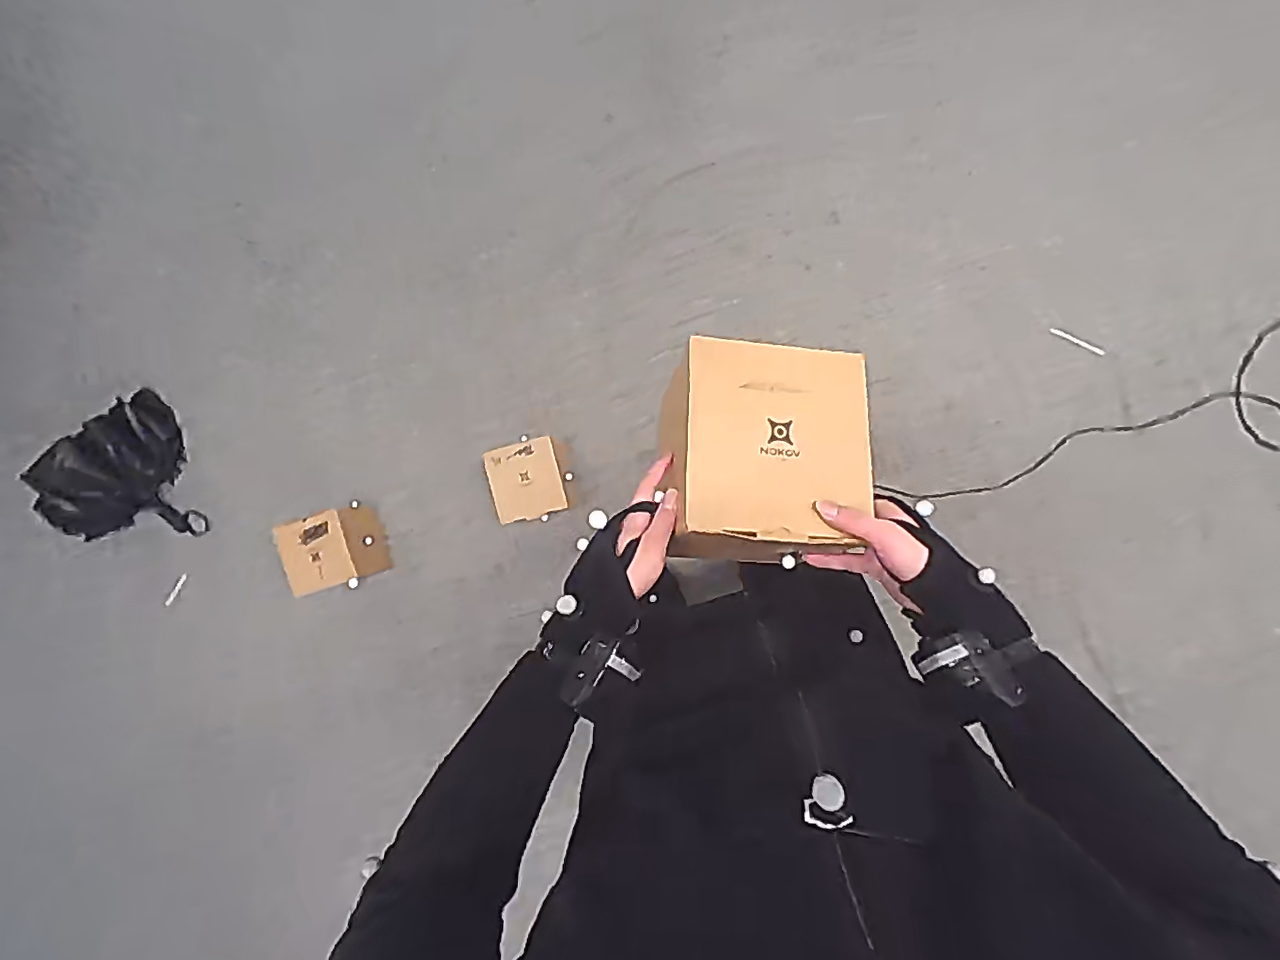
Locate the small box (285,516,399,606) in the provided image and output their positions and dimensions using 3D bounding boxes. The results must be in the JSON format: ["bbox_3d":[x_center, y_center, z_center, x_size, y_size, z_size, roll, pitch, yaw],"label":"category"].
[{"bbox_3d":[-0.747,0.196,1.371,0.168,0.176,0.179,-18,91,4],"label":"small box"}]

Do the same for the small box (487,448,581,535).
[{"bbox_3d":[-0.253,0.024,1.341,0.168,0.176,0.179,-15,90,4],"label":"small box"}]
